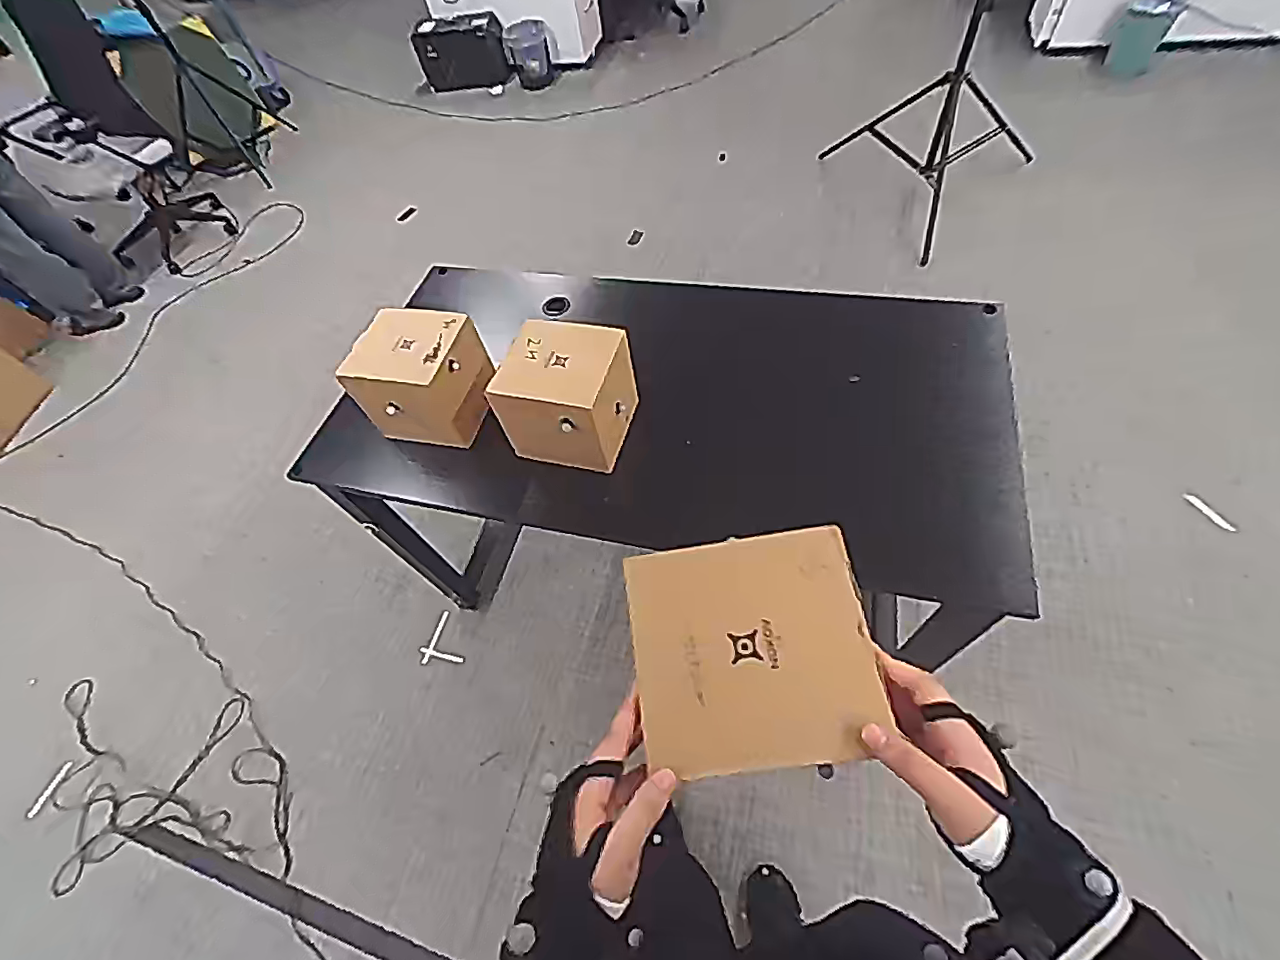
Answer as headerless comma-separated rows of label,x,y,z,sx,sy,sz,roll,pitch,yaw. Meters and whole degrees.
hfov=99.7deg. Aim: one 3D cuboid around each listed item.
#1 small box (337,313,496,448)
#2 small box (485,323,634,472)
small box,-0.379,-0.173,0.959,0.179,0.176,0.168,7,59,13
small box,-0.118,-0.132,0.891,0.179,0.176,0.168,10,59,15
